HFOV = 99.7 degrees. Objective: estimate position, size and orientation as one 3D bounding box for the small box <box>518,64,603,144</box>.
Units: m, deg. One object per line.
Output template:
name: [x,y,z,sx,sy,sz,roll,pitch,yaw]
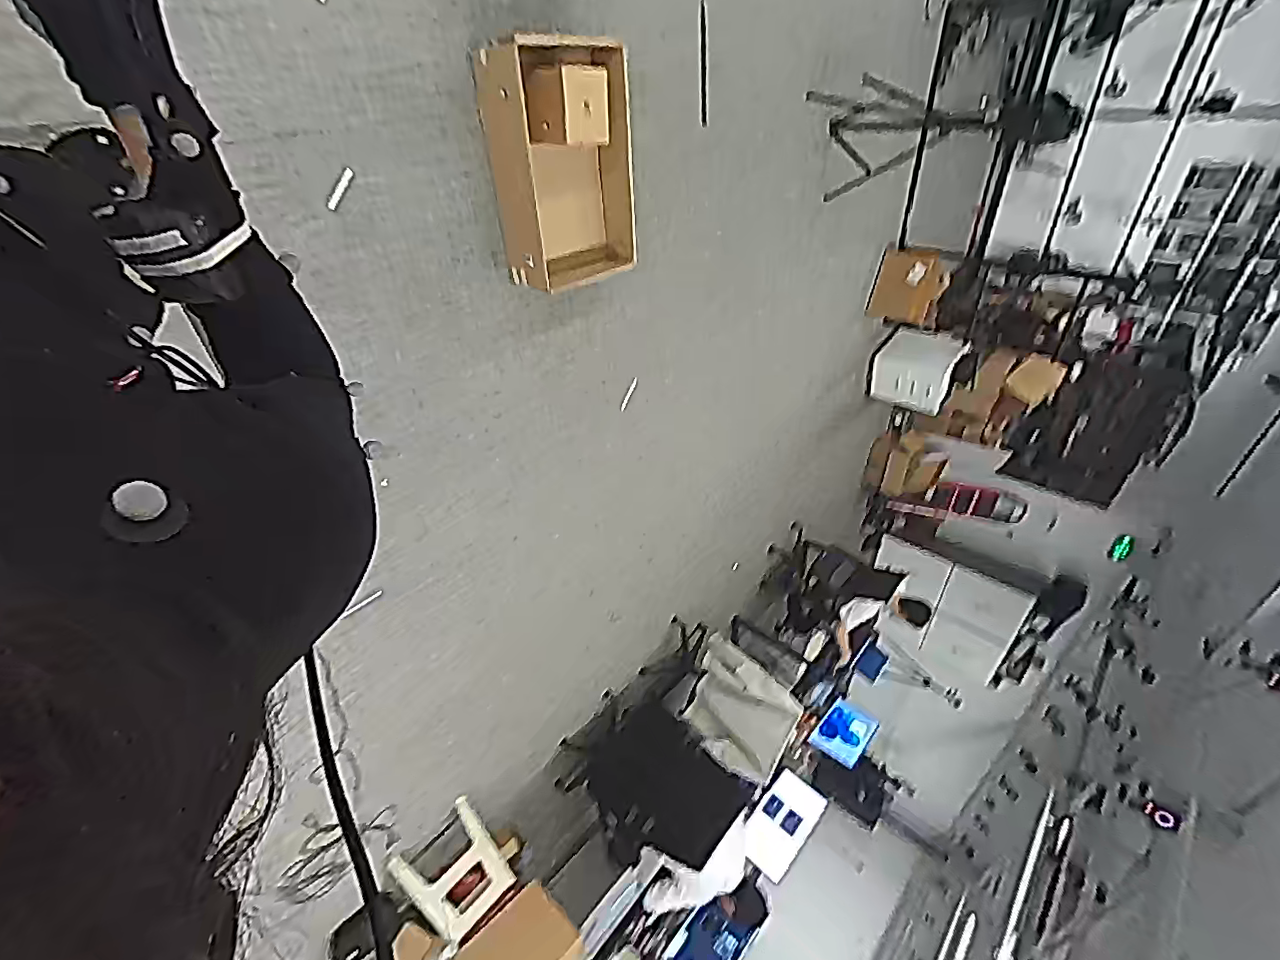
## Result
small box: [-0.223,-1.057,1.524,0.168,0.176,0.179,-32,135,-38]
